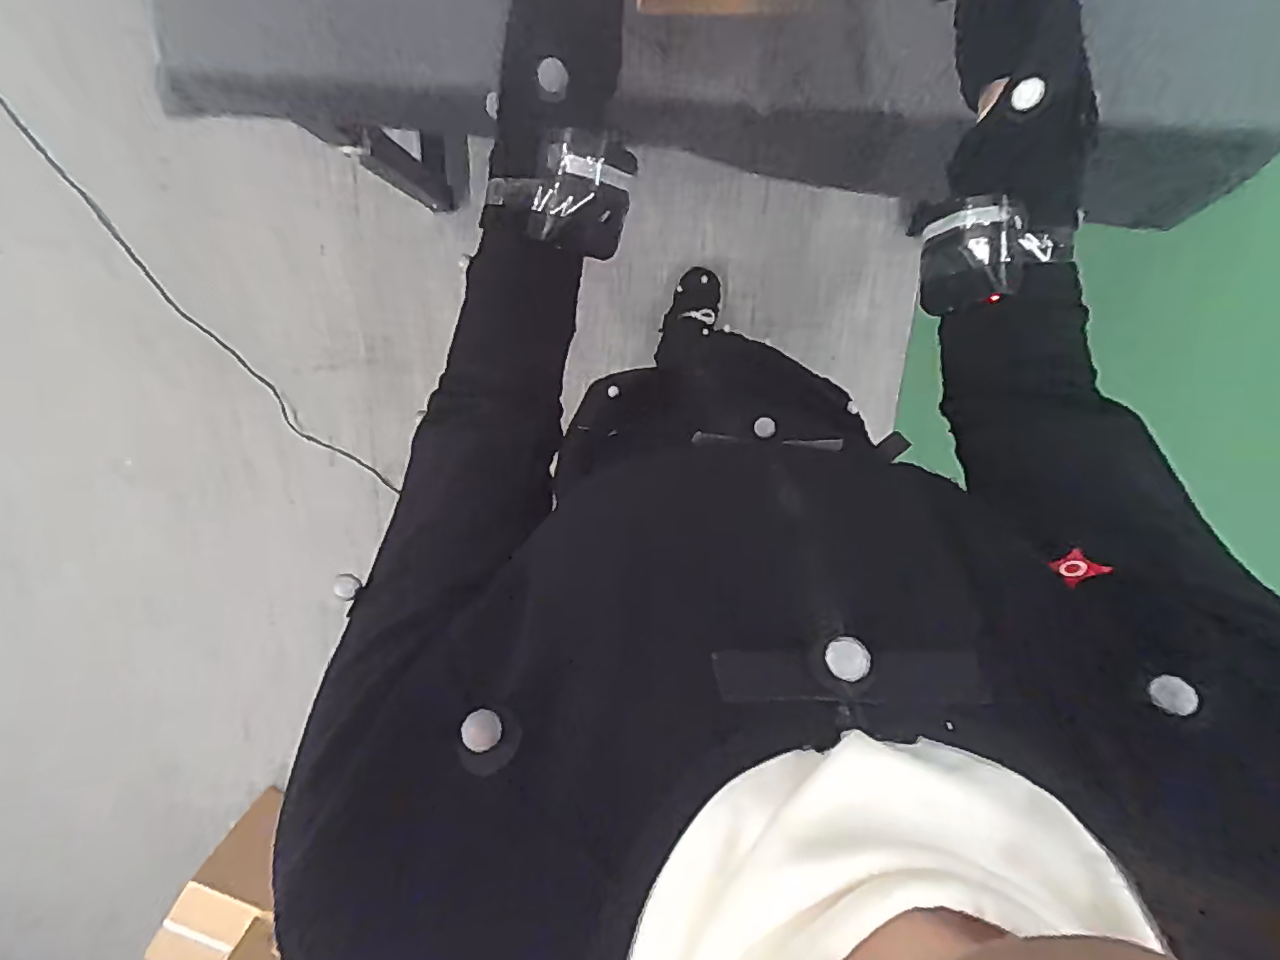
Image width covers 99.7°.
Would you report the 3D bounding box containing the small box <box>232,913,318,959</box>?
[{"bbox_3d":[-0.945,1.241,1.340,0.168,0.176,0.179,34,99,-9],"label":"small box"}]
